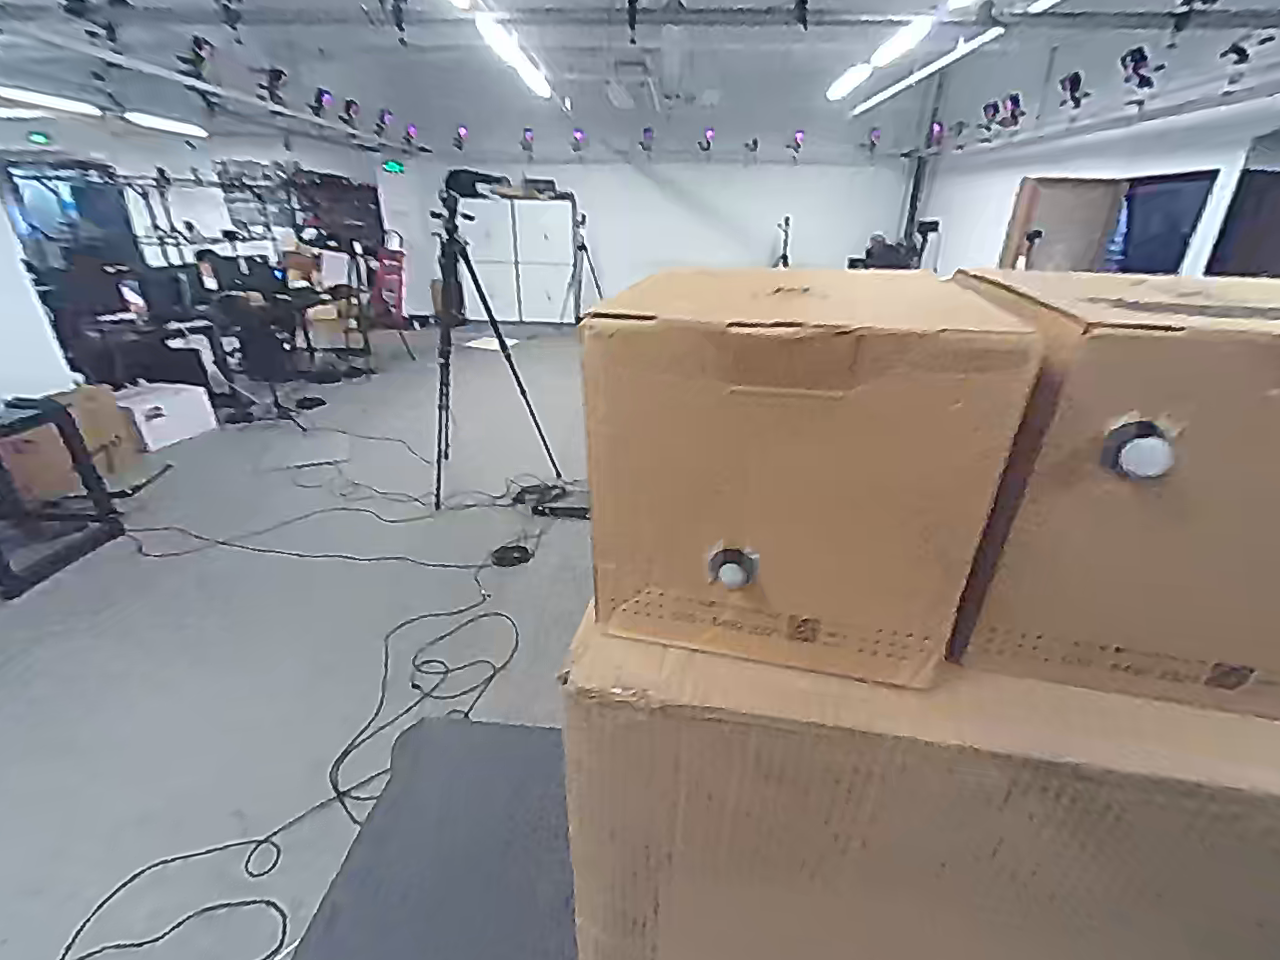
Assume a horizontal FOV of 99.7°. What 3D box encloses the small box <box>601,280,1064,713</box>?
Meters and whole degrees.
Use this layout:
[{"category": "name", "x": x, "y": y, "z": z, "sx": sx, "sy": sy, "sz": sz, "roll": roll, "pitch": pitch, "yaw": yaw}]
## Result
[{"category": "small box", "x": 0.081, "y": -0.009, "z": 0.303, "sx": 0.168, "sy": 0.176, "sz": 0.179, "roll": 7, "pitch": 29, "yaw": 12}]
